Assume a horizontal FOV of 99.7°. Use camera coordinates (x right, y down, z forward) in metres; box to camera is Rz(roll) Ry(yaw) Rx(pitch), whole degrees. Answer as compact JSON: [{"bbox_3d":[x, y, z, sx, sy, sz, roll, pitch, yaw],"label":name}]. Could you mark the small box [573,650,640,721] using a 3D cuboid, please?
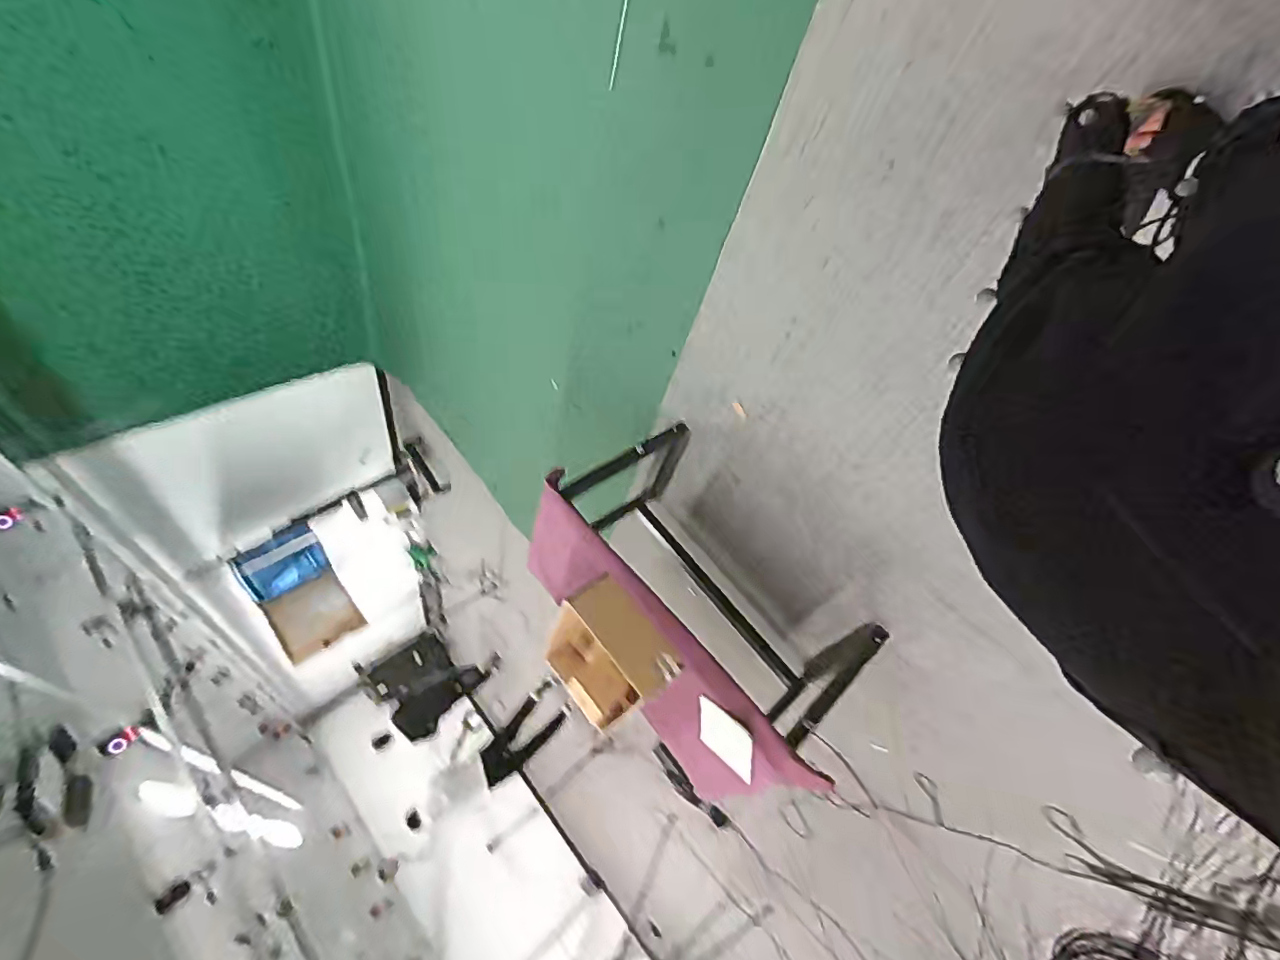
[{"bbox_3d":[-0.122,0.765,2.023,0.168,0.176,0.179,49,145,17],"label":"small box"}]
